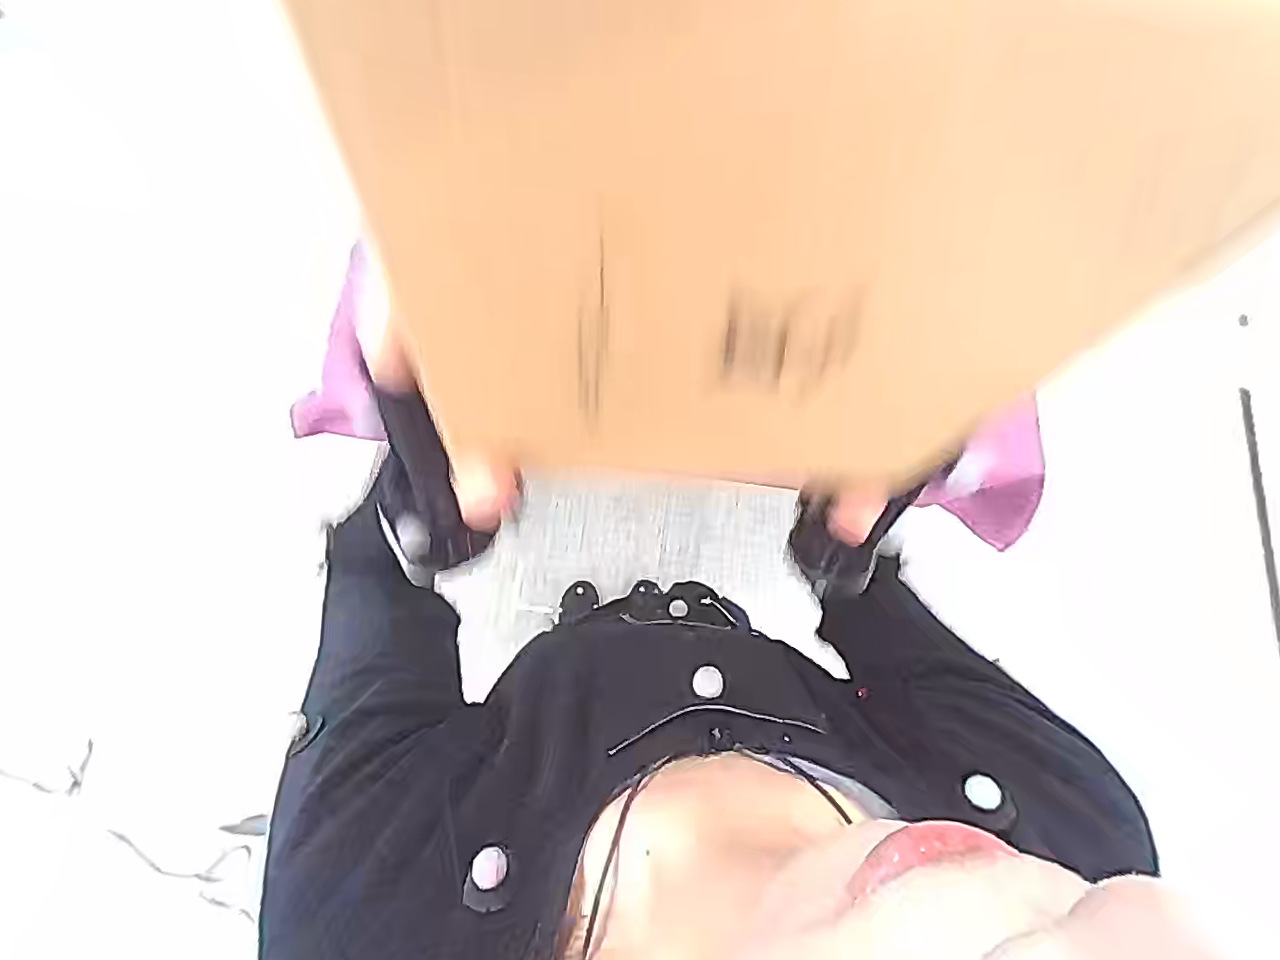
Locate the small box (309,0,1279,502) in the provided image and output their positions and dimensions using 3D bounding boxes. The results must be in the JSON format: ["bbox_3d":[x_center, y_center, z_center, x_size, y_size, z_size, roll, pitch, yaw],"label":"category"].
[{"bbox_3d":[0.037,-0.102,0.160,0.179,0.168,0.176,2,66,-8],"label":"small box"}]
